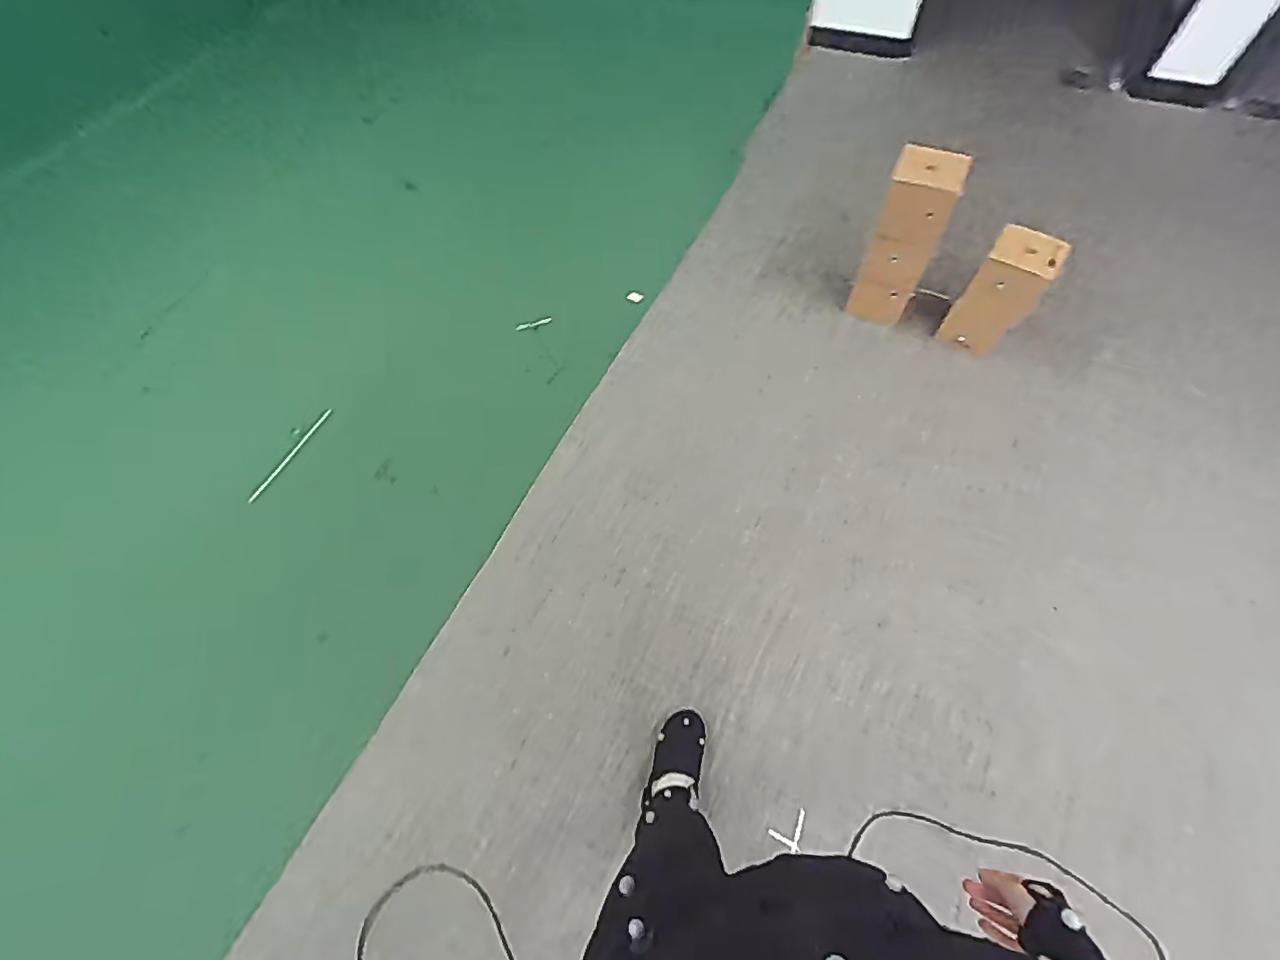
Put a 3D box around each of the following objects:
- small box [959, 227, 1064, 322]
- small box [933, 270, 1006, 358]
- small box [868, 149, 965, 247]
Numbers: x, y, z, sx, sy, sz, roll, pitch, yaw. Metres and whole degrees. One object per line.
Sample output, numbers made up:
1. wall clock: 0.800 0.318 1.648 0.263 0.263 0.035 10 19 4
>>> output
1. small box: 1.072 -0.595 1.578 0.179 0.176 0.168 31 69 20
2. small box: 1.072 -0.528 1.729 0.168 0.176 0.179 31 70 19
3. small box: 0.769 -0.786 1.516 0.179 0.176 0.168 21 66 16
